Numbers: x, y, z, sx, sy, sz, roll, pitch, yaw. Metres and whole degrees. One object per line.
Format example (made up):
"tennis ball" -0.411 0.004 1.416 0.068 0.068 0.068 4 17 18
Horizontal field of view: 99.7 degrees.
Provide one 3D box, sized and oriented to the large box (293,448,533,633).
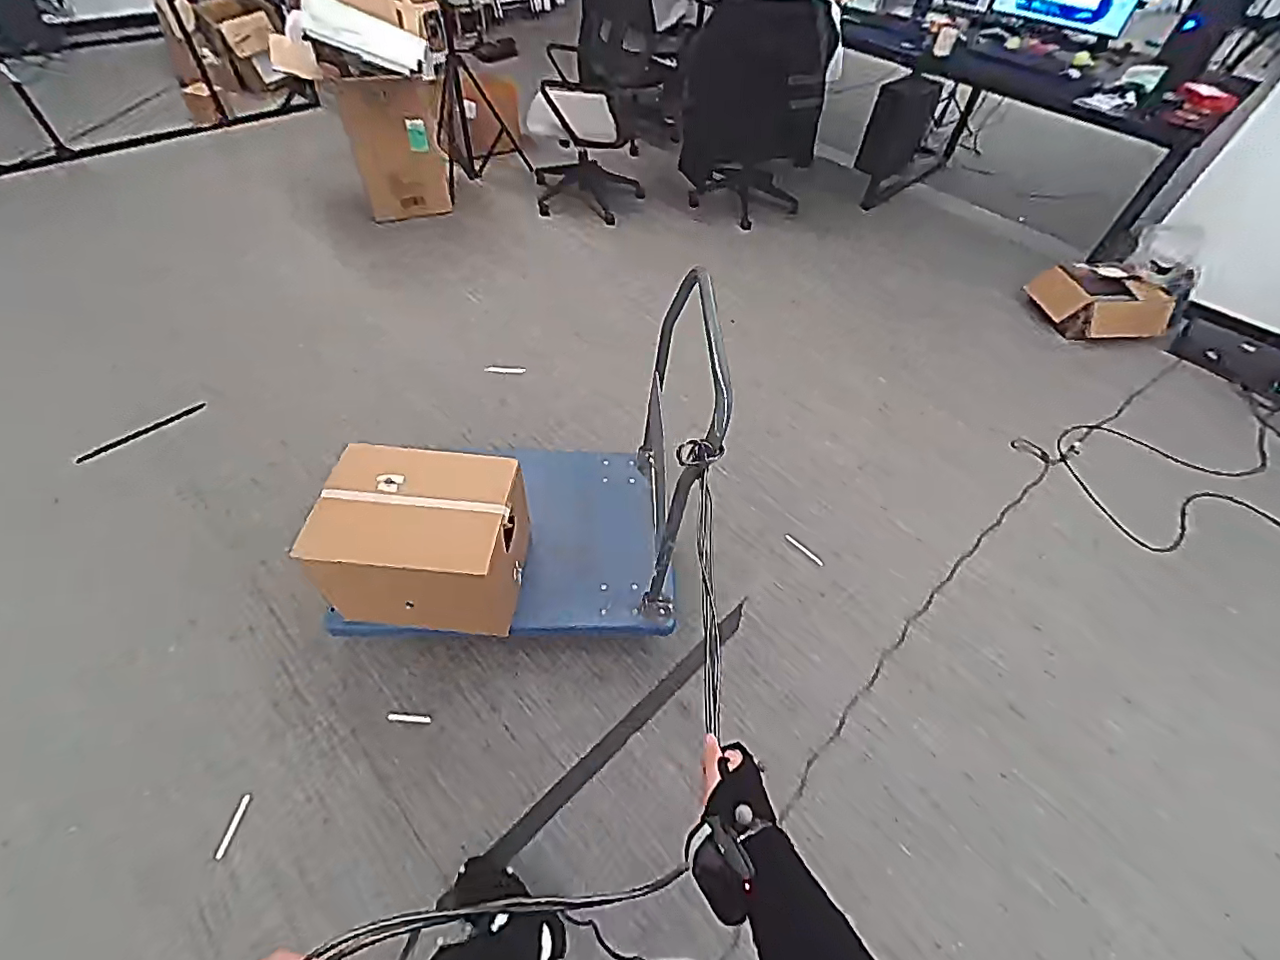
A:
"large box" -0.491 0.150 1.283 0.408 0.320 0.320 5 51 1
